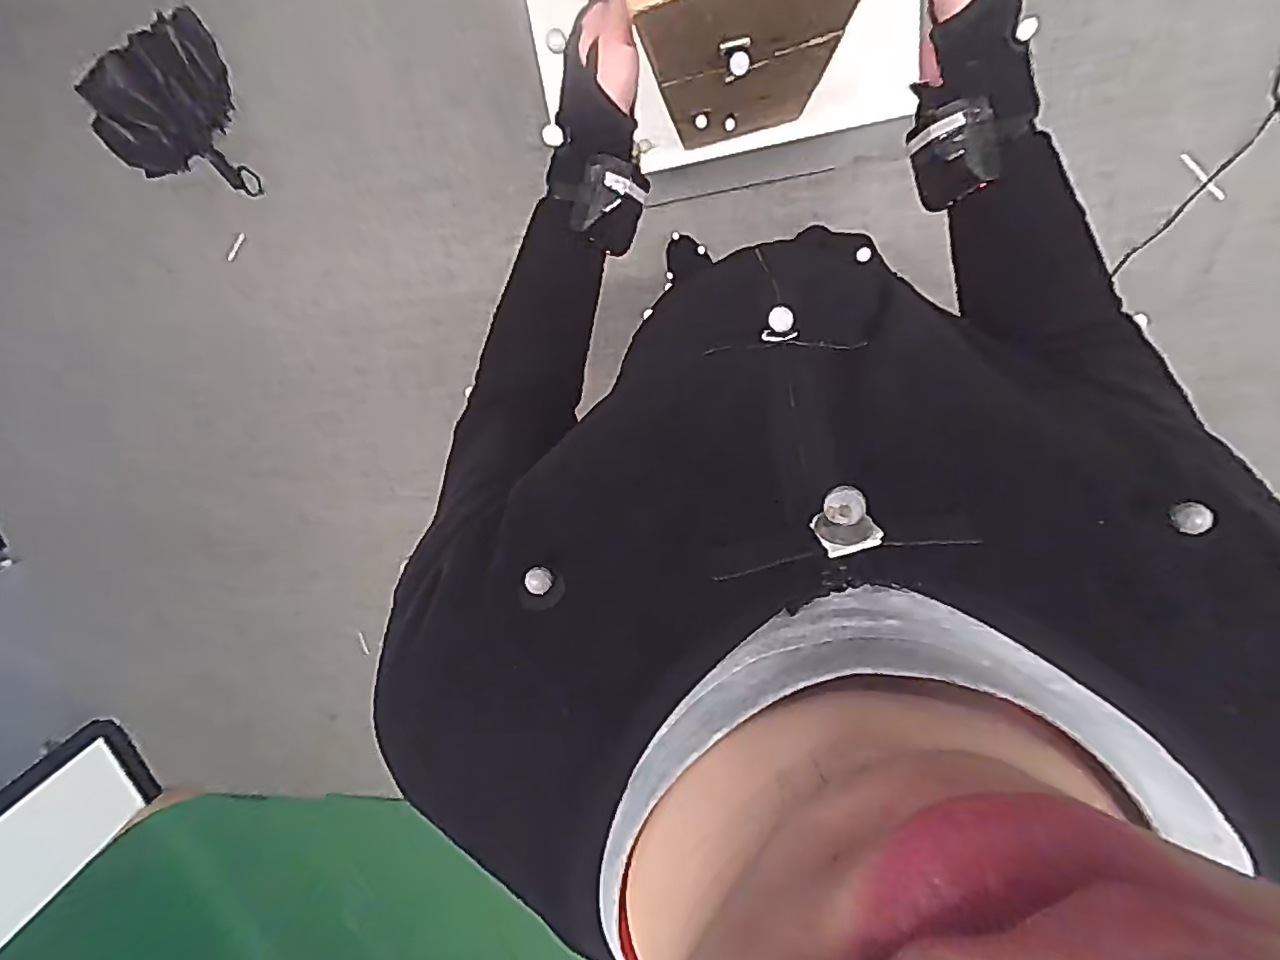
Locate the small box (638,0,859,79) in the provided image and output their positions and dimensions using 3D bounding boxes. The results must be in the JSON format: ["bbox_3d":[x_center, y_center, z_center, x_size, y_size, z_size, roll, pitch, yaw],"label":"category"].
[{"bbox_3d":[0.067,-0.416,0.363,0.168,0.176,0.179,-10,110,13],"label":"small box"}]

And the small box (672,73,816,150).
[{"bbox_3d":[0.112,-0.538,0.664,0.168,0.176,0.179,-9,110,13],"label":"small box"}]

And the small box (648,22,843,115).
[{"bbox_3d":[0.088,-0.476,0.514,0.168,0.176,0.179,-9,109,12],"label":"small box"}]
